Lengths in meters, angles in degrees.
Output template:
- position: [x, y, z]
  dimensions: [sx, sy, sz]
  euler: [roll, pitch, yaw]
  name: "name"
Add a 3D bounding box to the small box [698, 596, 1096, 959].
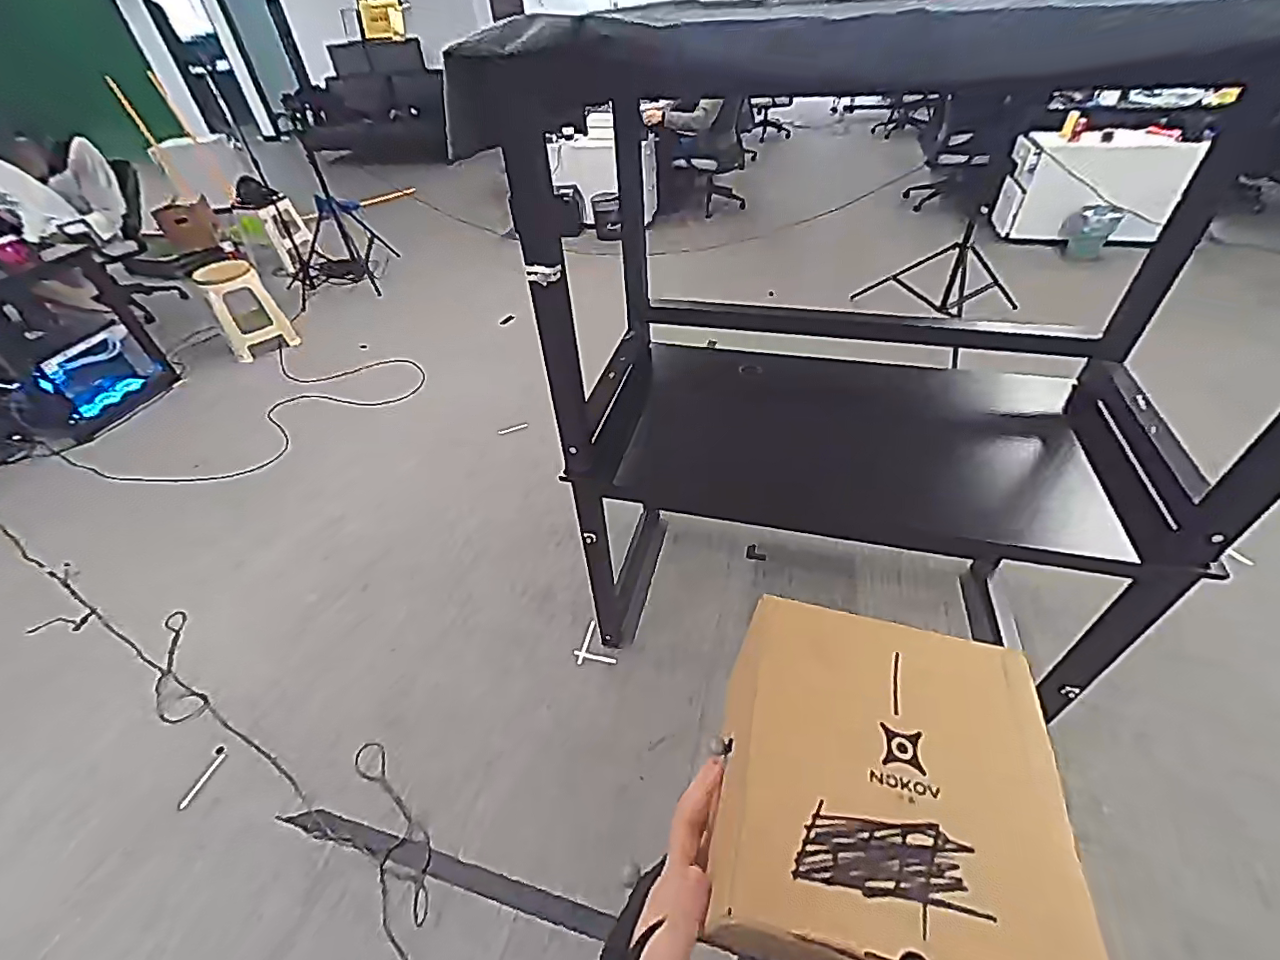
- position: [0.135, 0.208, 0.348]
  dimensions: [0.168, 0.176, 0.179]
  euler: [11, 47, 8]
  name: "small box"
